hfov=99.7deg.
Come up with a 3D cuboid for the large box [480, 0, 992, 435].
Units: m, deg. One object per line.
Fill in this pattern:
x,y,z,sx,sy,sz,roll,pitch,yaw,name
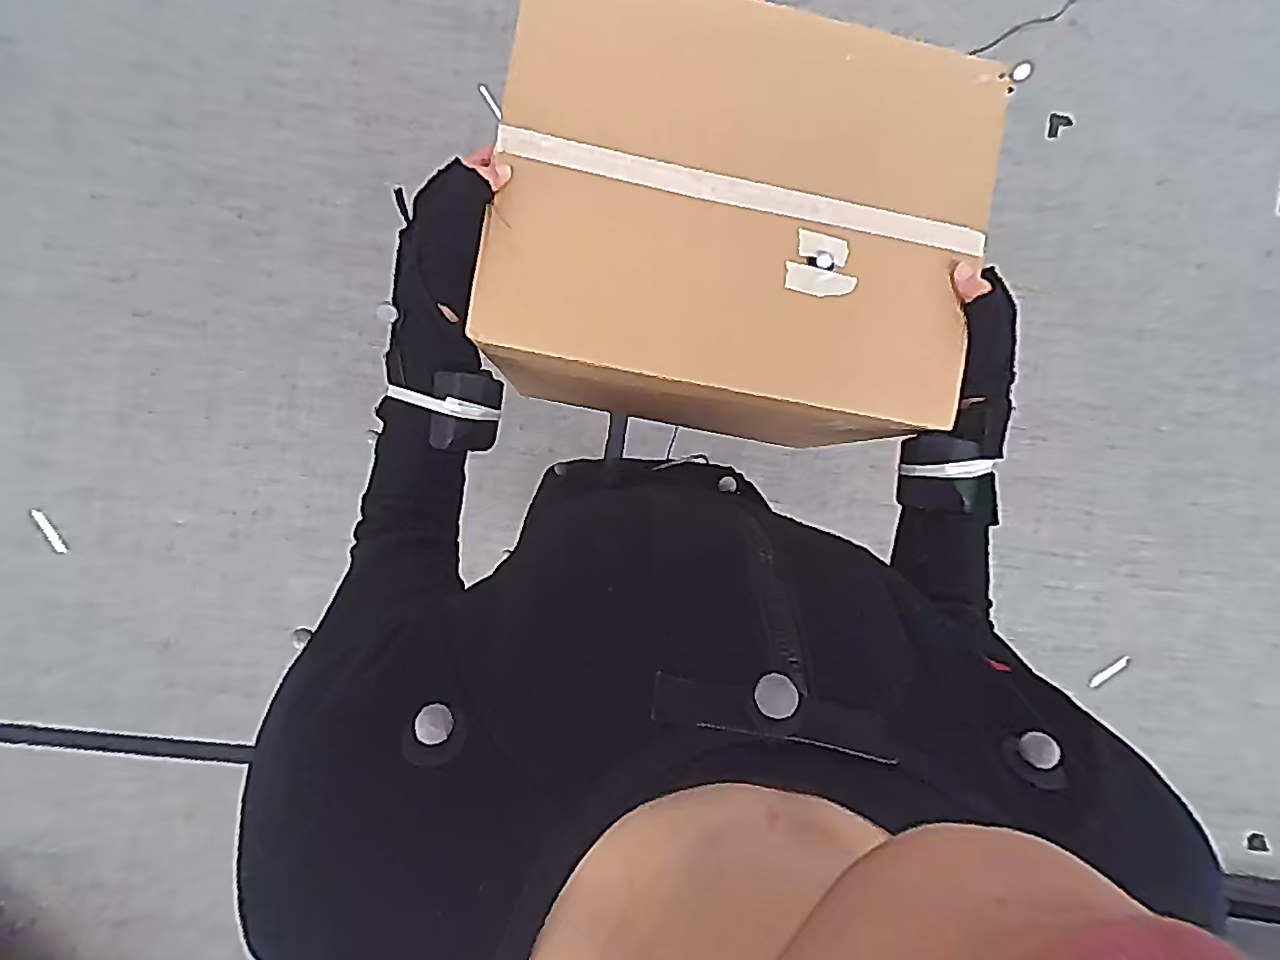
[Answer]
0.072,-0.240,0.596,0.408,0.320,0.320,10,91,-6,large box
